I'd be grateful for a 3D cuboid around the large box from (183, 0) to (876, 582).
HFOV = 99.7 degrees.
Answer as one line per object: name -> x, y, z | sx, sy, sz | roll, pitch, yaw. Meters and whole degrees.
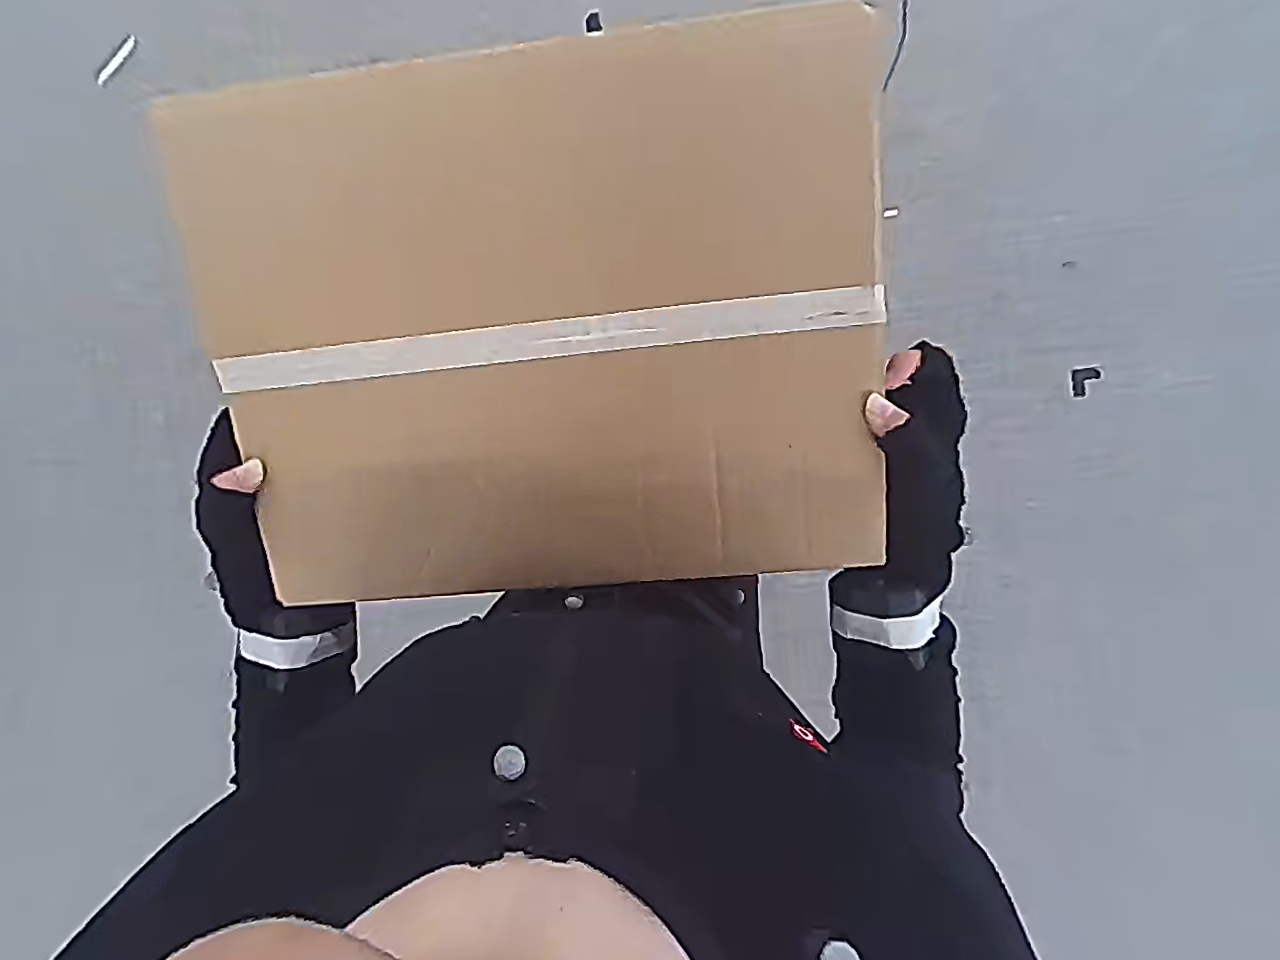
large box -> -0.054, -0.126, 0.479 | 0.408, 0.320, 0.320 | -5, 103, 4
